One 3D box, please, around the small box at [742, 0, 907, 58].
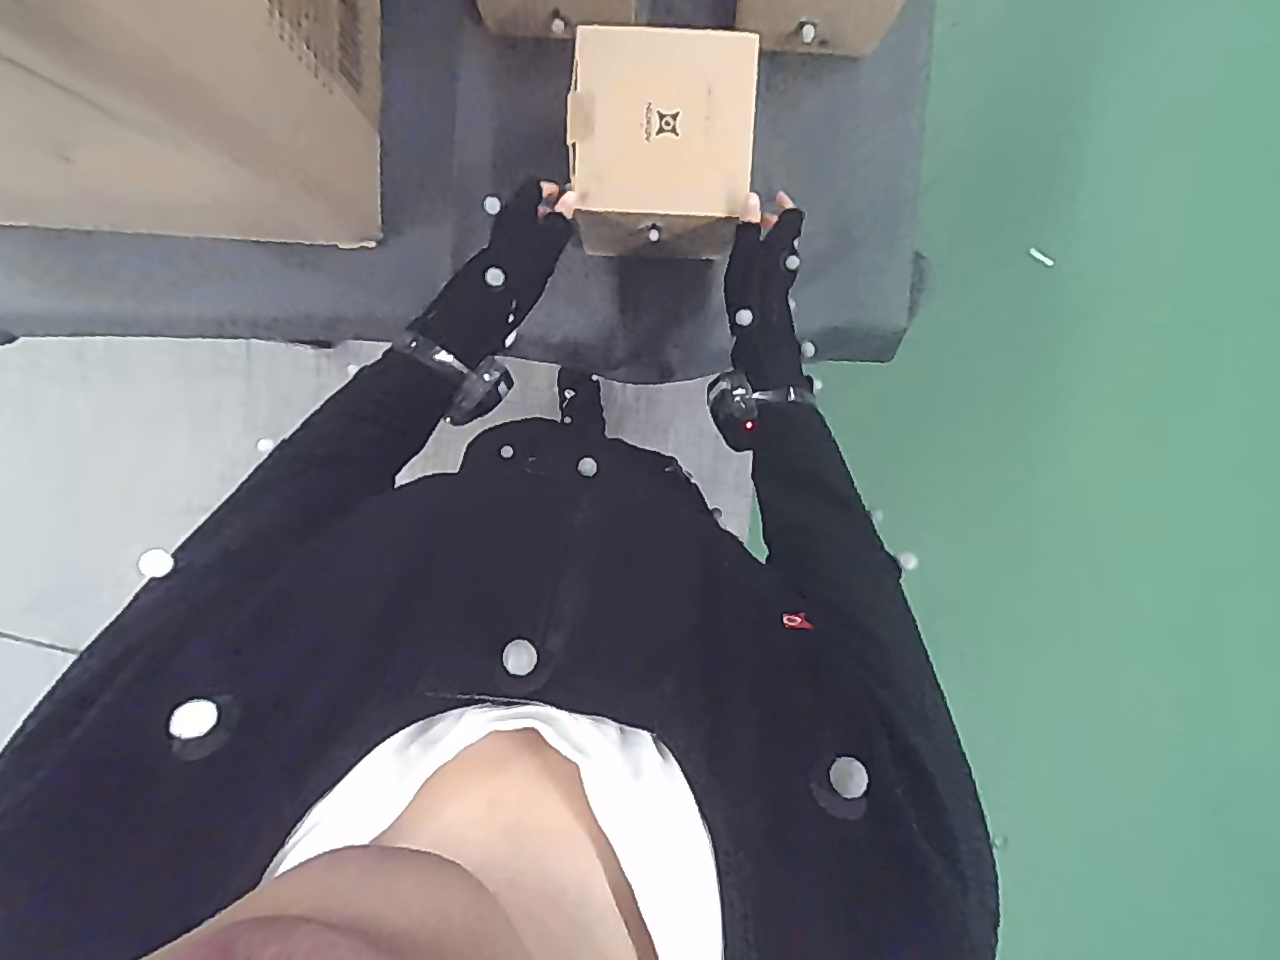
[{"bbox_3d":[0.209,-0.598,0.569,0.168,0.176,0.179,4,99,-1],"label":"small box"}]
